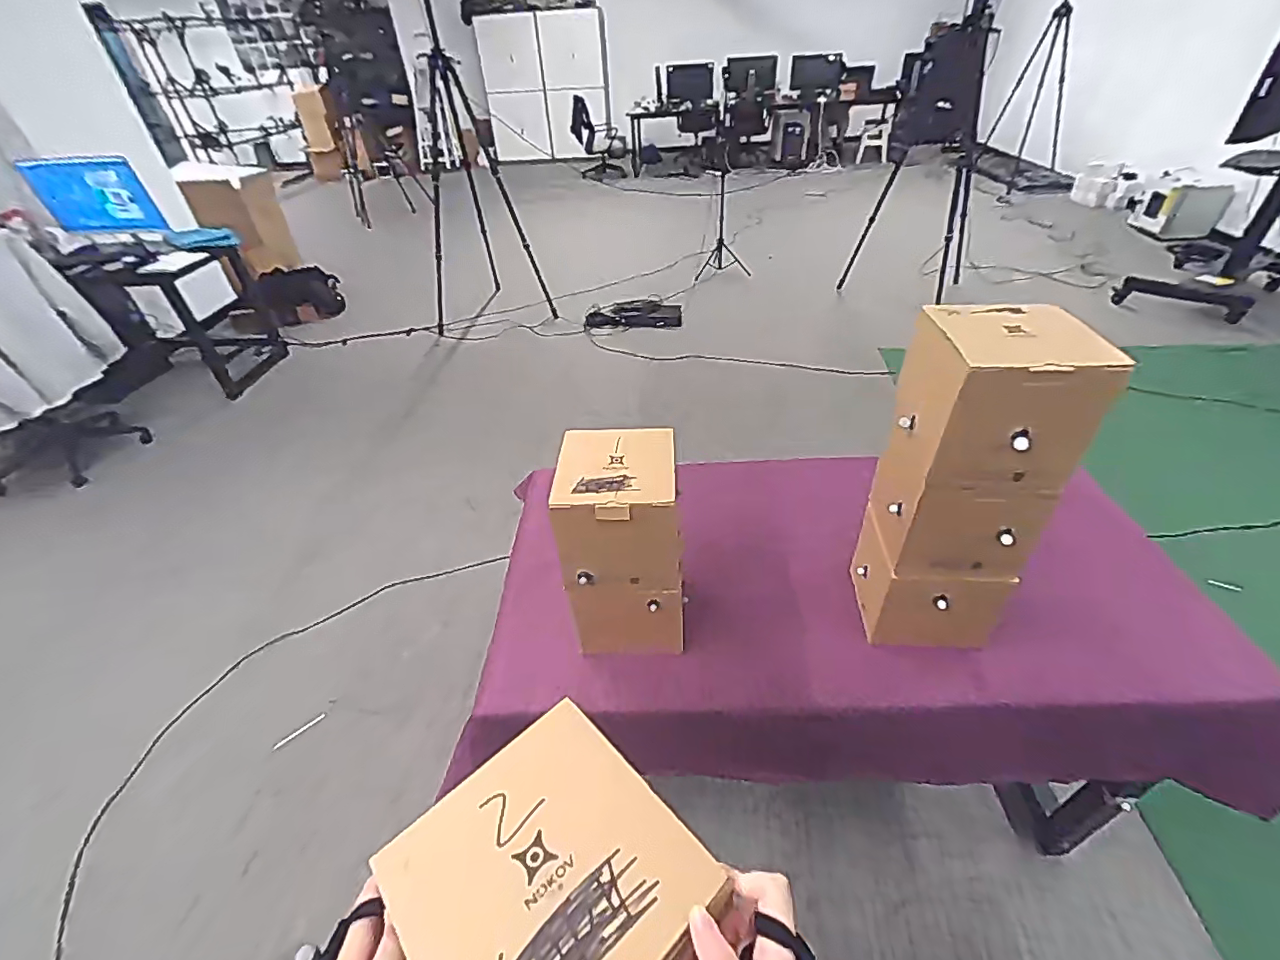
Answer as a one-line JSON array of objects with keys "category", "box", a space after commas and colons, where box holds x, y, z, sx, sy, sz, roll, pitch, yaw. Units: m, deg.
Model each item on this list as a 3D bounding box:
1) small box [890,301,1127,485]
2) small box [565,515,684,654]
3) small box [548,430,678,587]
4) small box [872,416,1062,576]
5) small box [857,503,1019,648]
[{"category": "small box", "box": [0.433, -0.107, 0.675, 0.168, 0.176, 0.179, 1, 40, 6]}, {"category": "small box", "box": [-0.017, 0.175, 0.904, 0.179, 0.176, 0.168, -1, 39, 4]}, {"category": "small box", "box": [-0.029, 0.045, 0.804, 0.168, 0.176, 0.179, -1, 38, 3]}, {"category": "small box", "box": [0.448, 0.021, 0.777, 0.168, 0.176, 0.179, 1, 39, 8]}, {"category": "small box", "box": [0.459, 0.153, 0.873, 0.179, 0.176, 0.168, 1, 40, 8]}]
